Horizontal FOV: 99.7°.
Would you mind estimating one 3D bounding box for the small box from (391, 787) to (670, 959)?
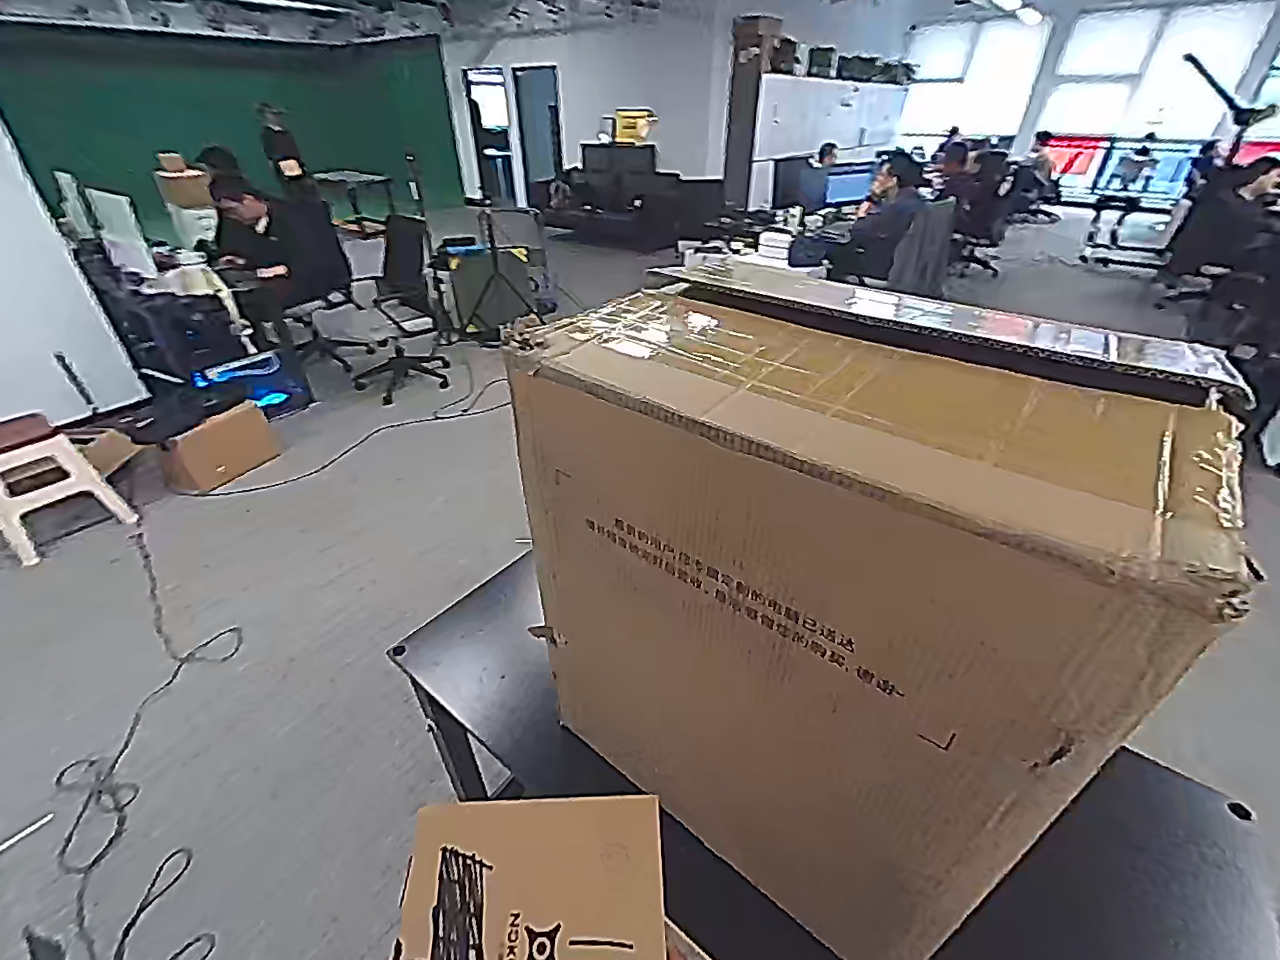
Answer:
[{"bbox_3d":[-0.068,0.343,0.400,0.179,0.176,0.168,-1,46,-1],"label":"small box"}]
